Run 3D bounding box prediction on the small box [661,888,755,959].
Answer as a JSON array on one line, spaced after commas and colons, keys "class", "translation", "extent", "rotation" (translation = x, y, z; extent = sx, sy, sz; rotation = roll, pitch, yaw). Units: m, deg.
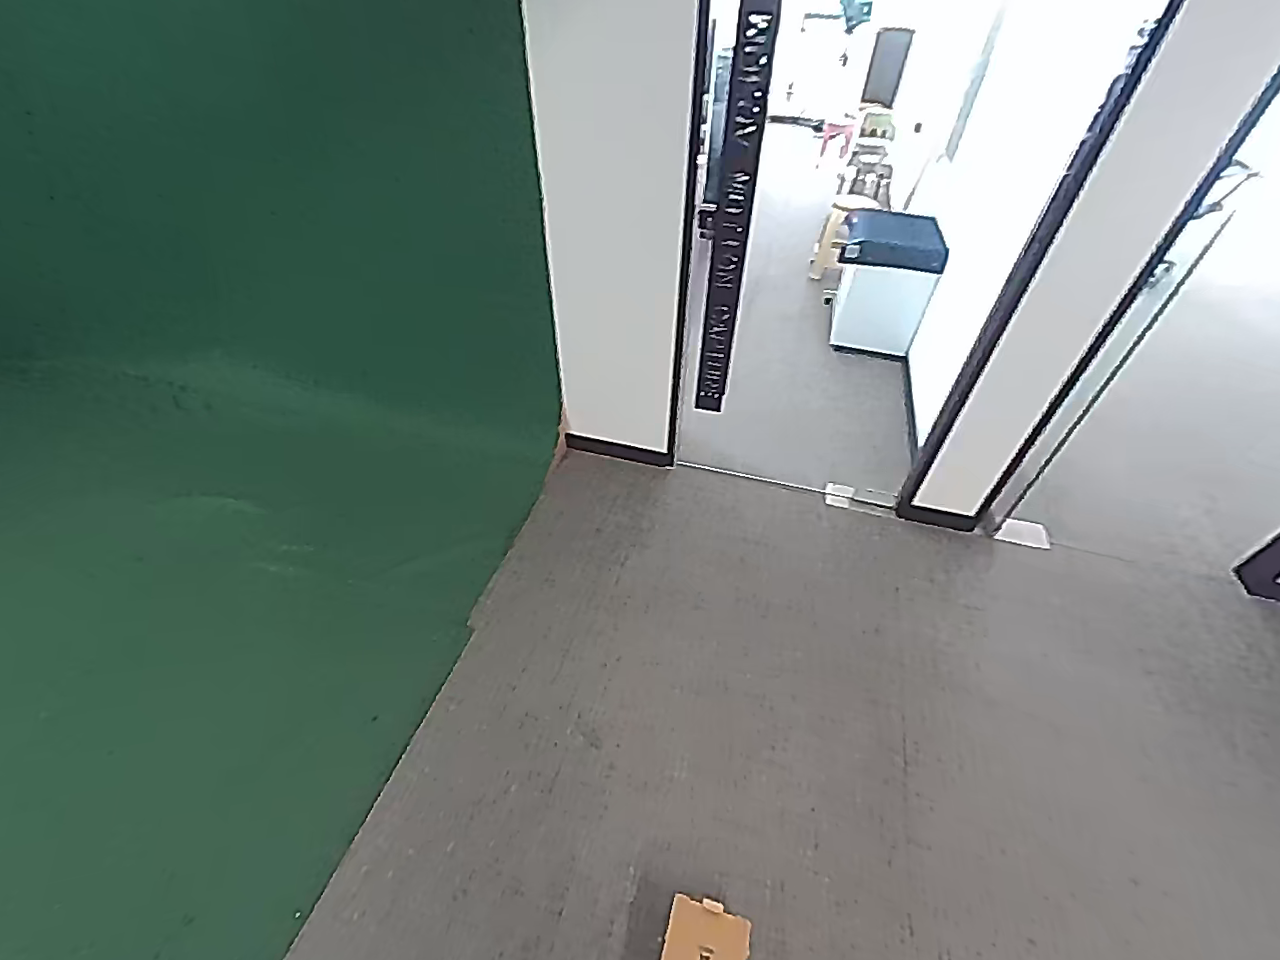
[{"class": "small box", "translation": [0.131, 0.995, 1.121], "extent": [0.168, 0.176, 0.179], "rotation": [13, 46, 14]}]
